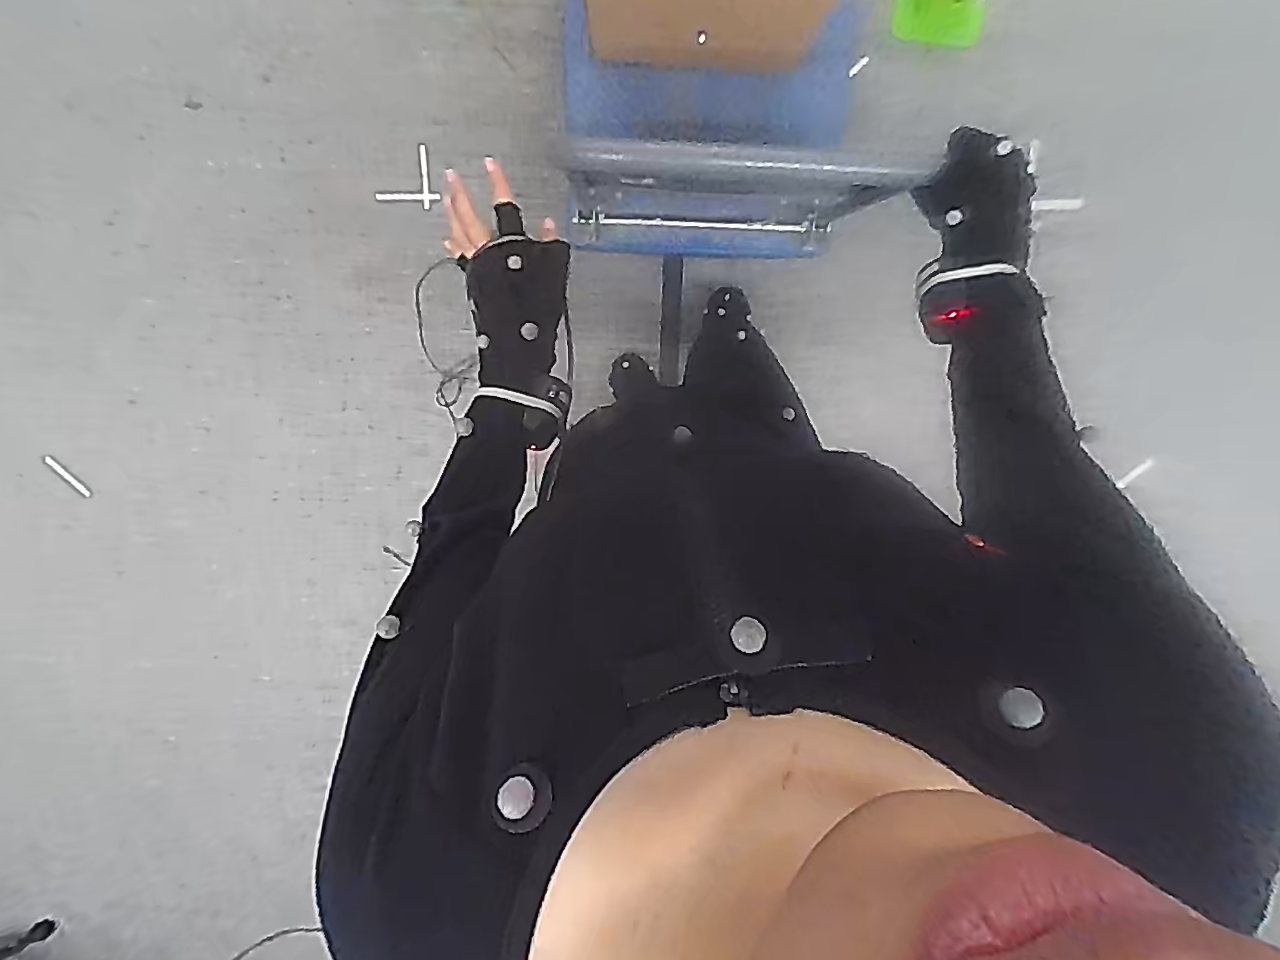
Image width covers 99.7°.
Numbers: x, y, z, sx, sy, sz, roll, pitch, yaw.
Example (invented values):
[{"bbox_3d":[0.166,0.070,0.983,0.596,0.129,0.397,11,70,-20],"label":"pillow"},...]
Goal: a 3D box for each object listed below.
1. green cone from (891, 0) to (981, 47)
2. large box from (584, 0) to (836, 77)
[{"bbox_3d":[0.679,-1.053,1.046,0.202,0.368,0.200,4,104,-4],"label":"green cone"},{"bbox_3d":[0.113,-0.929,0.916,0.408,0.320,0.320,2,105,-1],"label":"large box"}]
